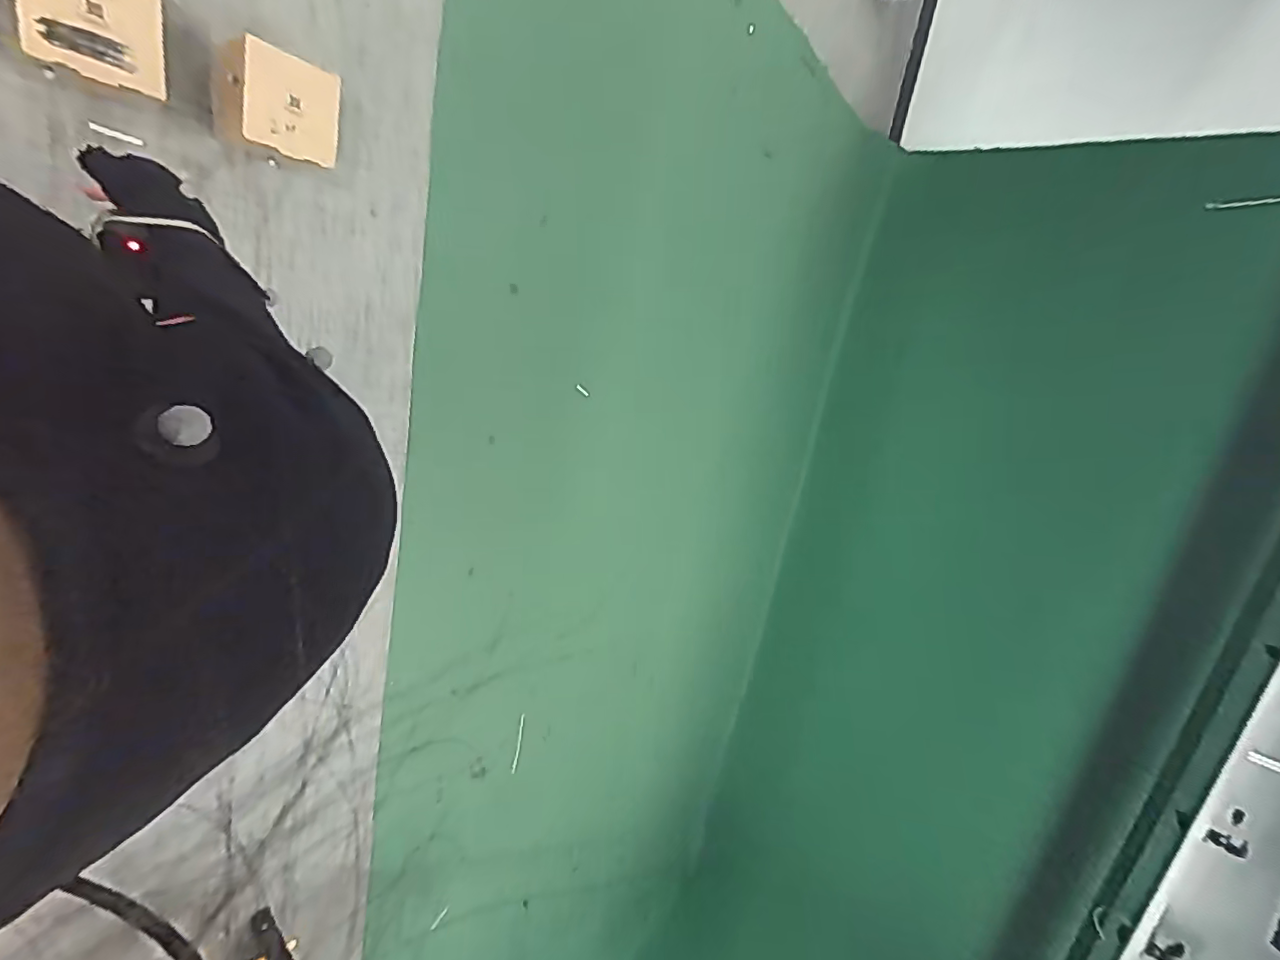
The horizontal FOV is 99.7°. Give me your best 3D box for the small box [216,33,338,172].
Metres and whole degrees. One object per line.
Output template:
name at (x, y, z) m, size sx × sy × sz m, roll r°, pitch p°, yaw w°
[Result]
small box at (-0.745, -0.757, 1.107) m, size 0.168 × 0.176 × 0.179 m, roll -4°, pitch 111°, yaw -51°
